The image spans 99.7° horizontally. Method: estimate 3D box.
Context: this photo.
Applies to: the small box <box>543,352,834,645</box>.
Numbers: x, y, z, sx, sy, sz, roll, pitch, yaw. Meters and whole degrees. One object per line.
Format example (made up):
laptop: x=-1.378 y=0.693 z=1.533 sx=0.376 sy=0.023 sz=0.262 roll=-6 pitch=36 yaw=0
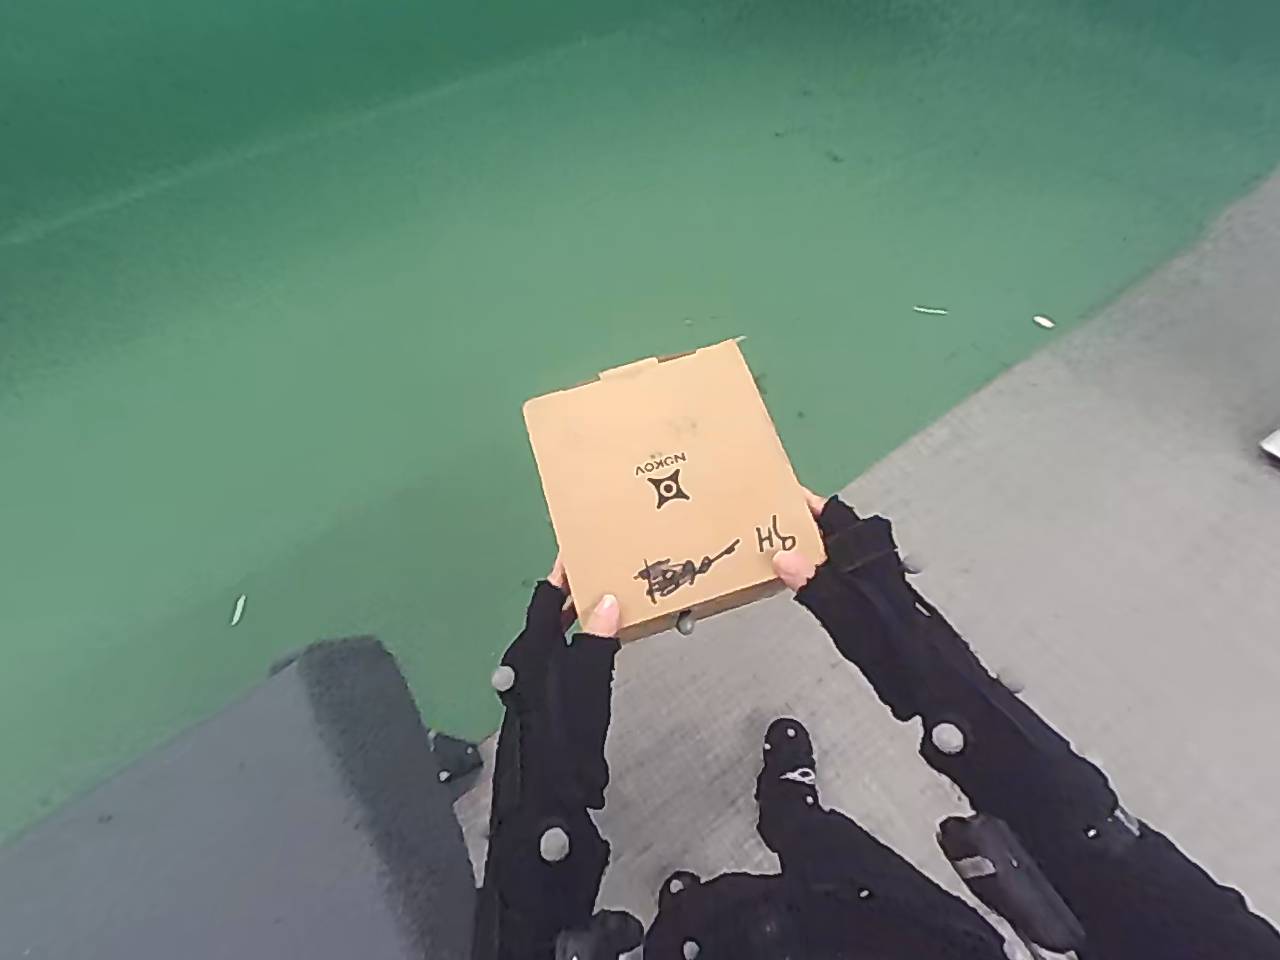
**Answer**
small box: x=0.031 y=0.028 z=0.449 sx=0.168 sy=0.176 sz=0.179 roll=-16 pitch=71 yaw=-1
